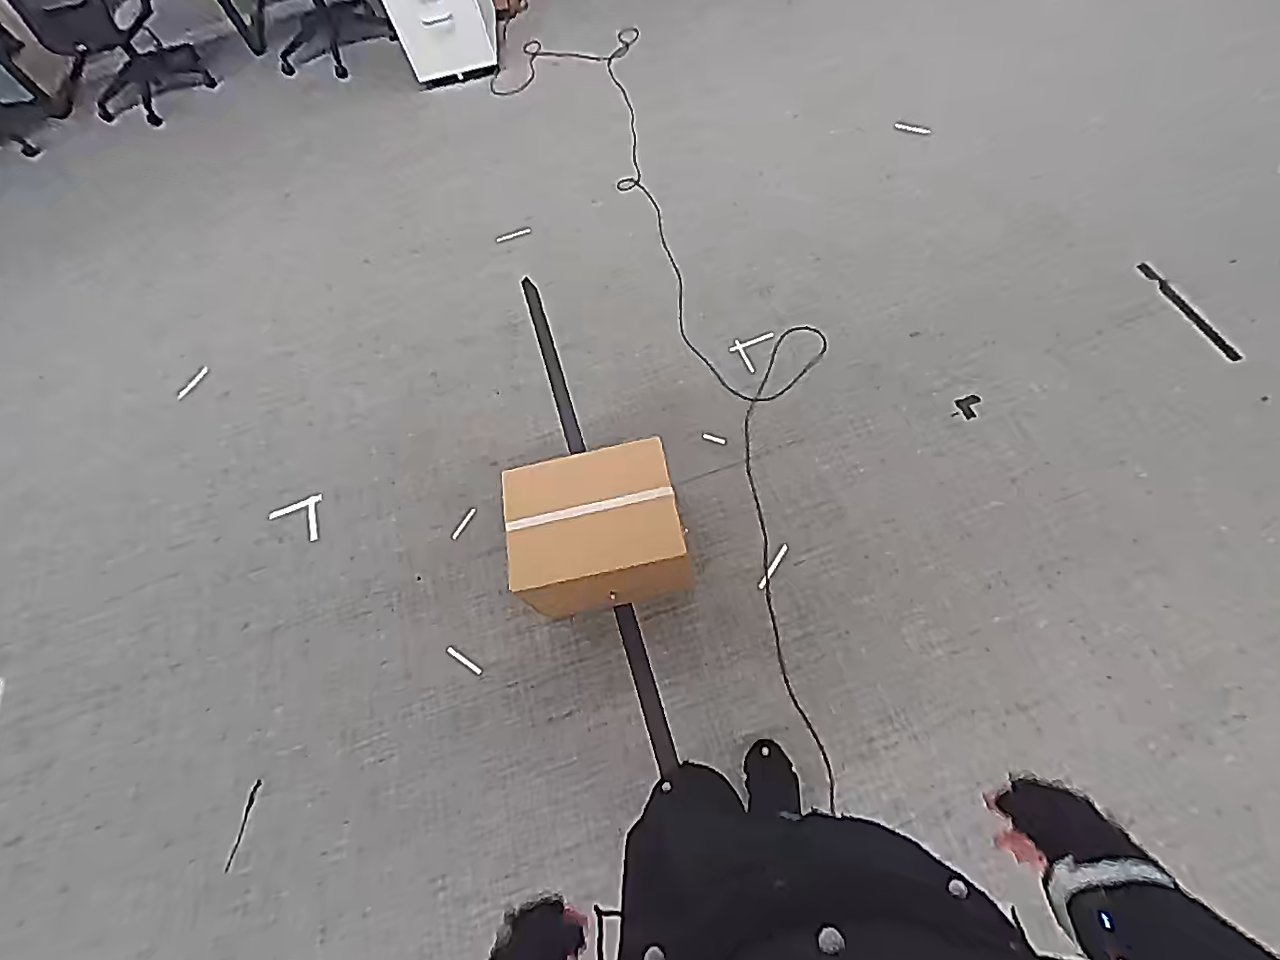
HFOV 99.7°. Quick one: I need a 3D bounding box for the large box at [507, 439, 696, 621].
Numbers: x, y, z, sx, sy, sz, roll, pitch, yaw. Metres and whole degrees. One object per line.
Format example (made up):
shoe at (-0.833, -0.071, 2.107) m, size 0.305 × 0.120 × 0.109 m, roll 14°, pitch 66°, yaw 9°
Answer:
large box at (-0.090, 0.142, 1.388) m, size 0.408 × 0.320 × 0.320 m, roll -13°, pitch 64°, yaw 2°
